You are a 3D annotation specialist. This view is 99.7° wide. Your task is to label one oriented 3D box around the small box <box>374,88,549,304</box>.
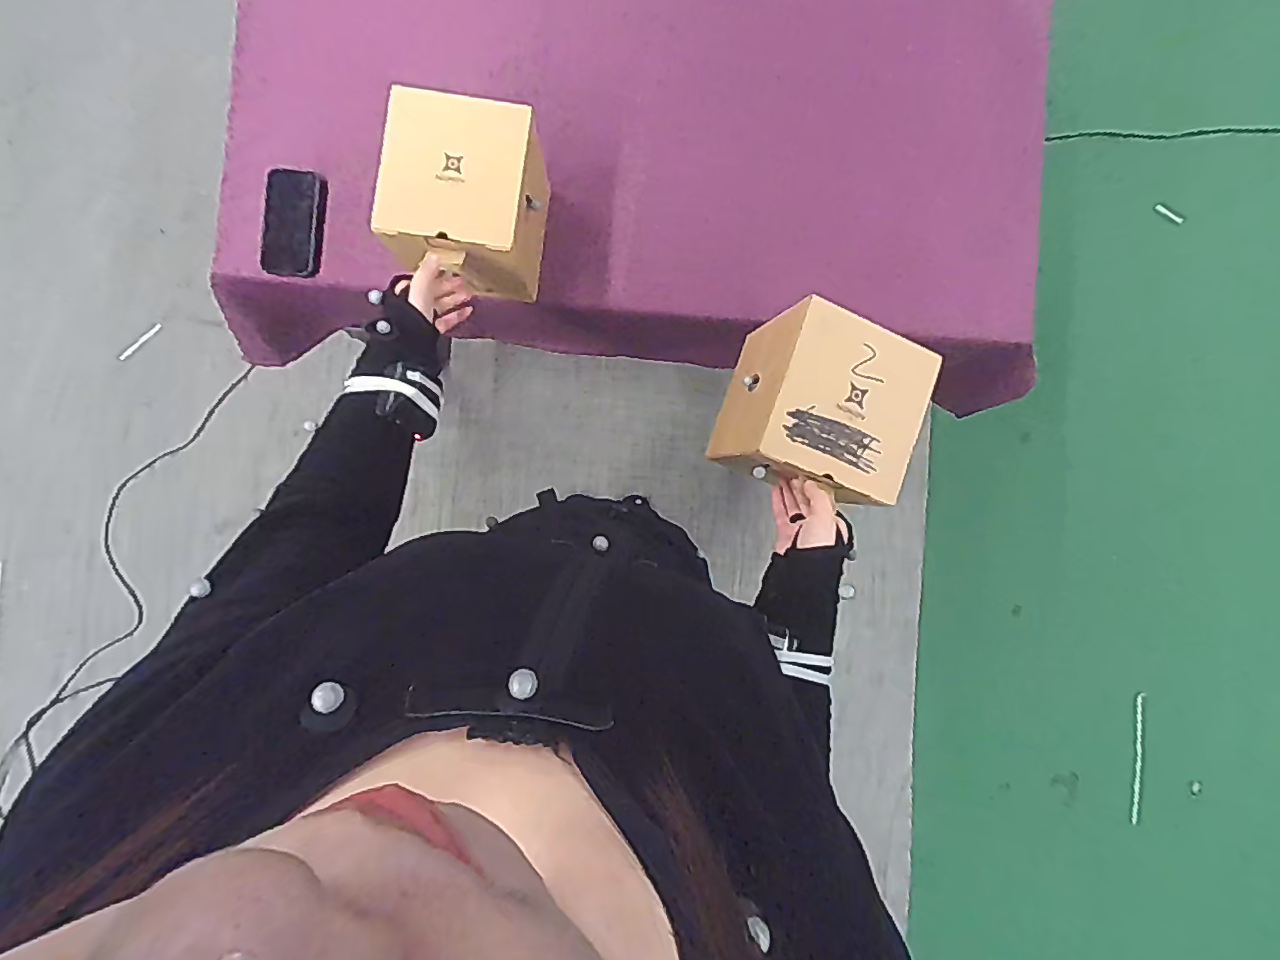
[{"bbox_3d":[-0.218,-0.355,0.707,0.168,0.176,0.179,8,88,-3],"label":"small box"}]
